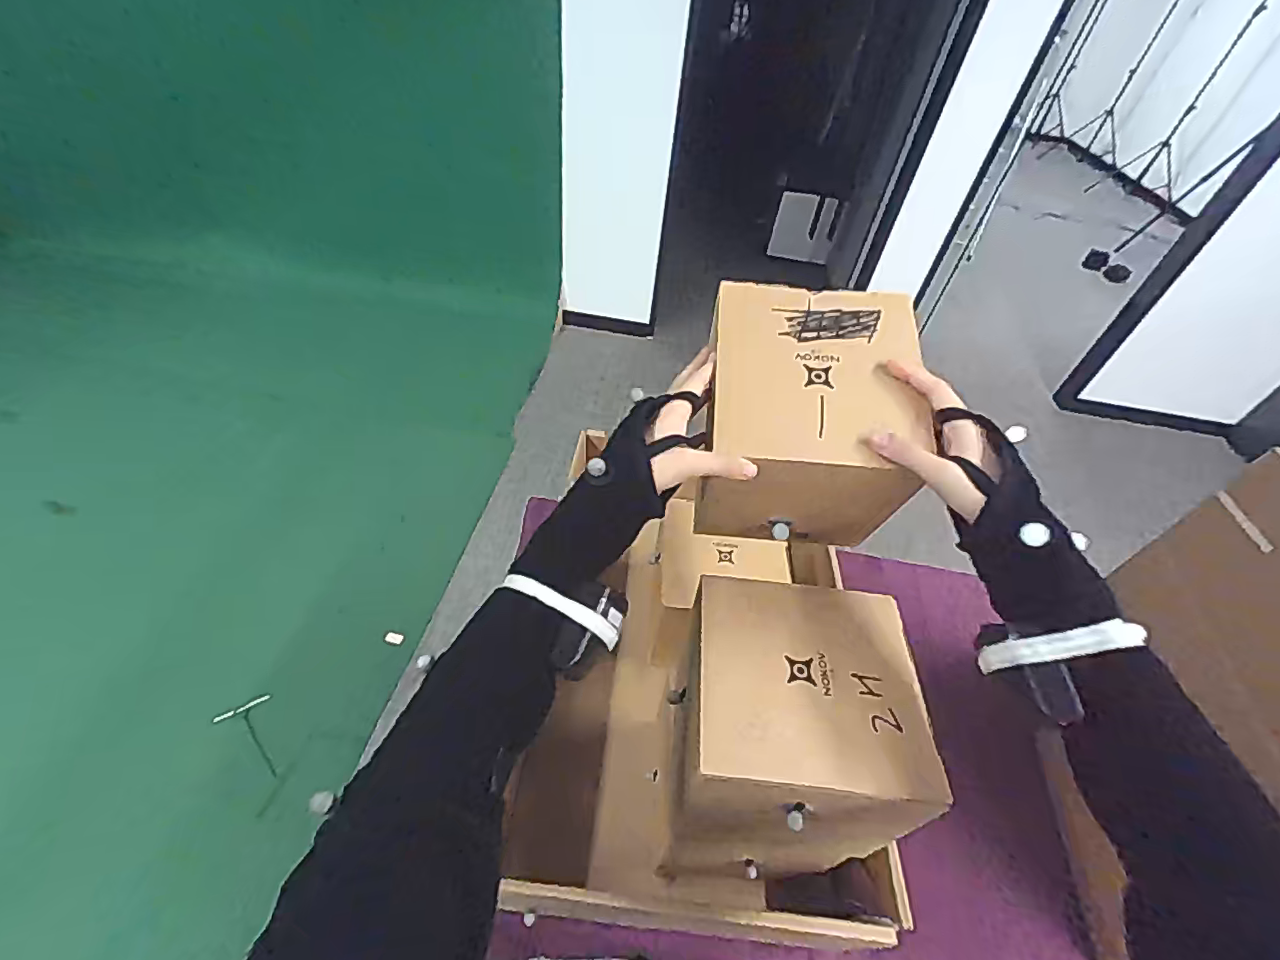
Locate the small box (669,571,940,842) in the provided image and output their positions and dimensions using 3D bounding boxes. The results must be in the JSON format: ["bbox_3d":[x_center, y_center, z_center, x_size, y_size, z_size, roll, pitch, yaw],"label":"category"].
[{"bbox_3d":[0.122,0.204,0.481,0.179,0.176,0.168,7,47,0],"label":"small box"}]

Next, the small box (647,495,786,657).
[{"bbox_3d":[0.100,0.144,0.766,0.168,0.176,0.179,5,46,-1],"label":"small box"}]

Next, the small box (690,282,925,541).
[{"bbox_3d":[0.137,-0.057,0.511,0.168,0.176,0.179,4,65,2],"label":"small box"}]
